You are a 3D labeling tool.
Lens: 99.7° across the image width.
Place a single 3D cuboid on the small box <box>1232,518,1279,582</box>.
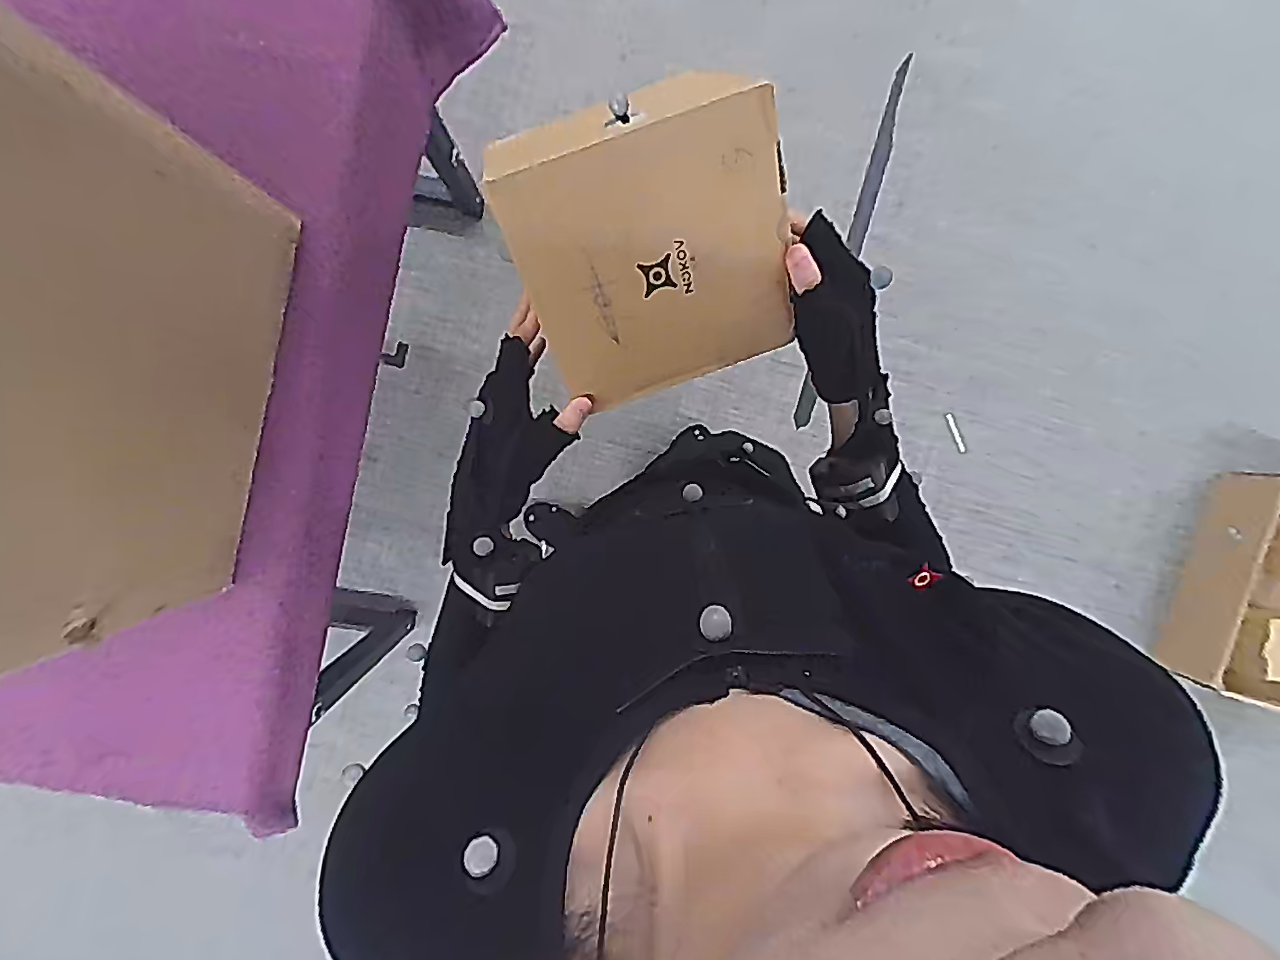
[{"bbox_3d":[1.826,0.208,1.493,0.179,0.176,0.168,14,93,-4],"label":"small box"}]
